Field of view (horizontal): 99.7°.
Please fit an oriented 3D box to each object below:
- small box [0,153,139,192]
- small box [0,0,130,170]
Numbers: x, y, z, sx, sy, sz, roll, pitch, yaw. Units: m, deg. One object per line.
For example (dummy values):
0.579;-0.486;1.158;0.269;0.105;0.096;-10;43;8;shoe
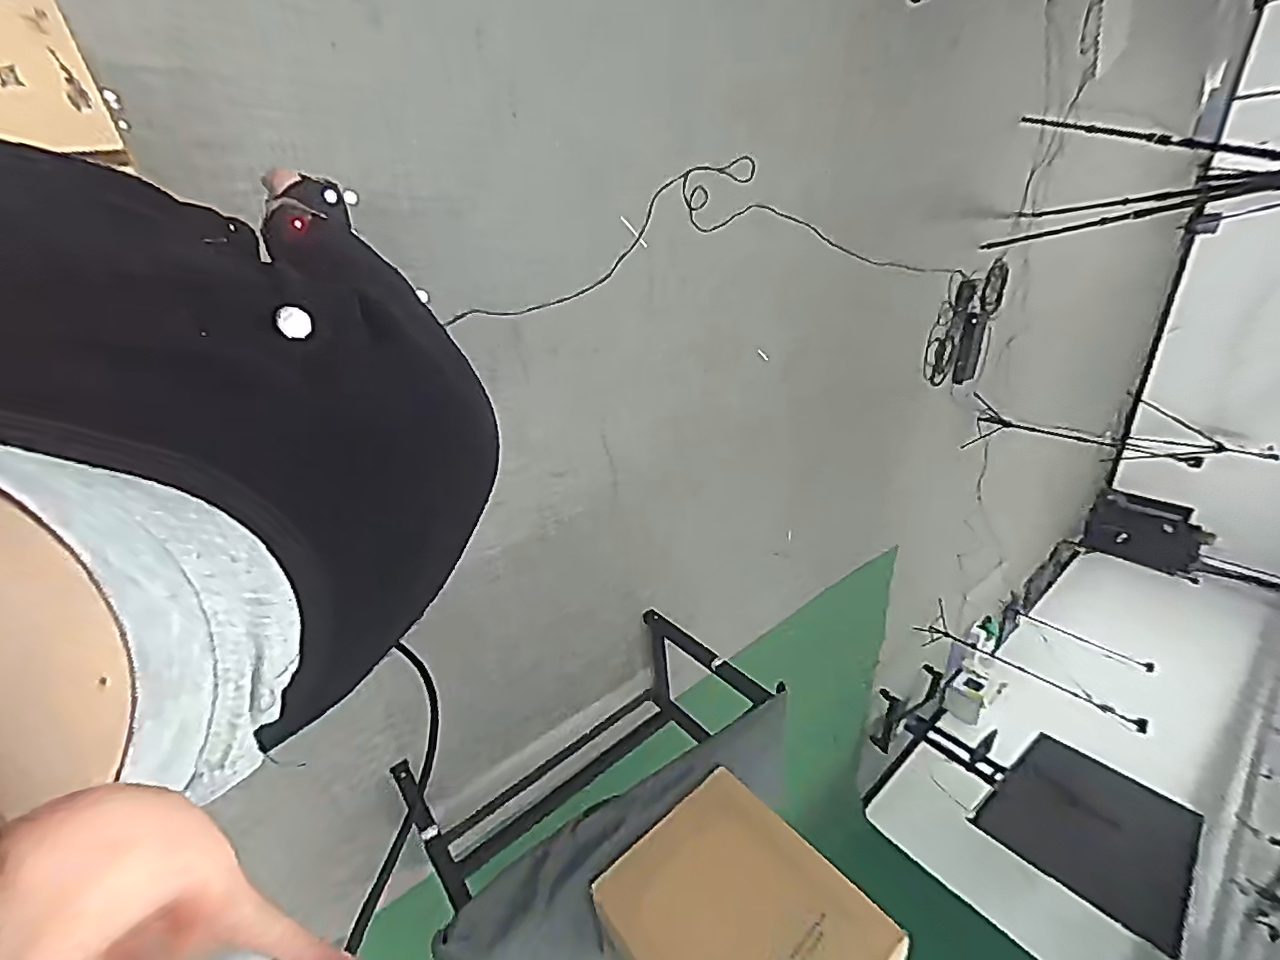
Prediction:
-0.914;-0.553;0.826;0.168;0.176;0.179;-25;122;-30;small box
-0.817;-0.510;0.701;0.179;0.176;0.168;-25;121;-30;small box
